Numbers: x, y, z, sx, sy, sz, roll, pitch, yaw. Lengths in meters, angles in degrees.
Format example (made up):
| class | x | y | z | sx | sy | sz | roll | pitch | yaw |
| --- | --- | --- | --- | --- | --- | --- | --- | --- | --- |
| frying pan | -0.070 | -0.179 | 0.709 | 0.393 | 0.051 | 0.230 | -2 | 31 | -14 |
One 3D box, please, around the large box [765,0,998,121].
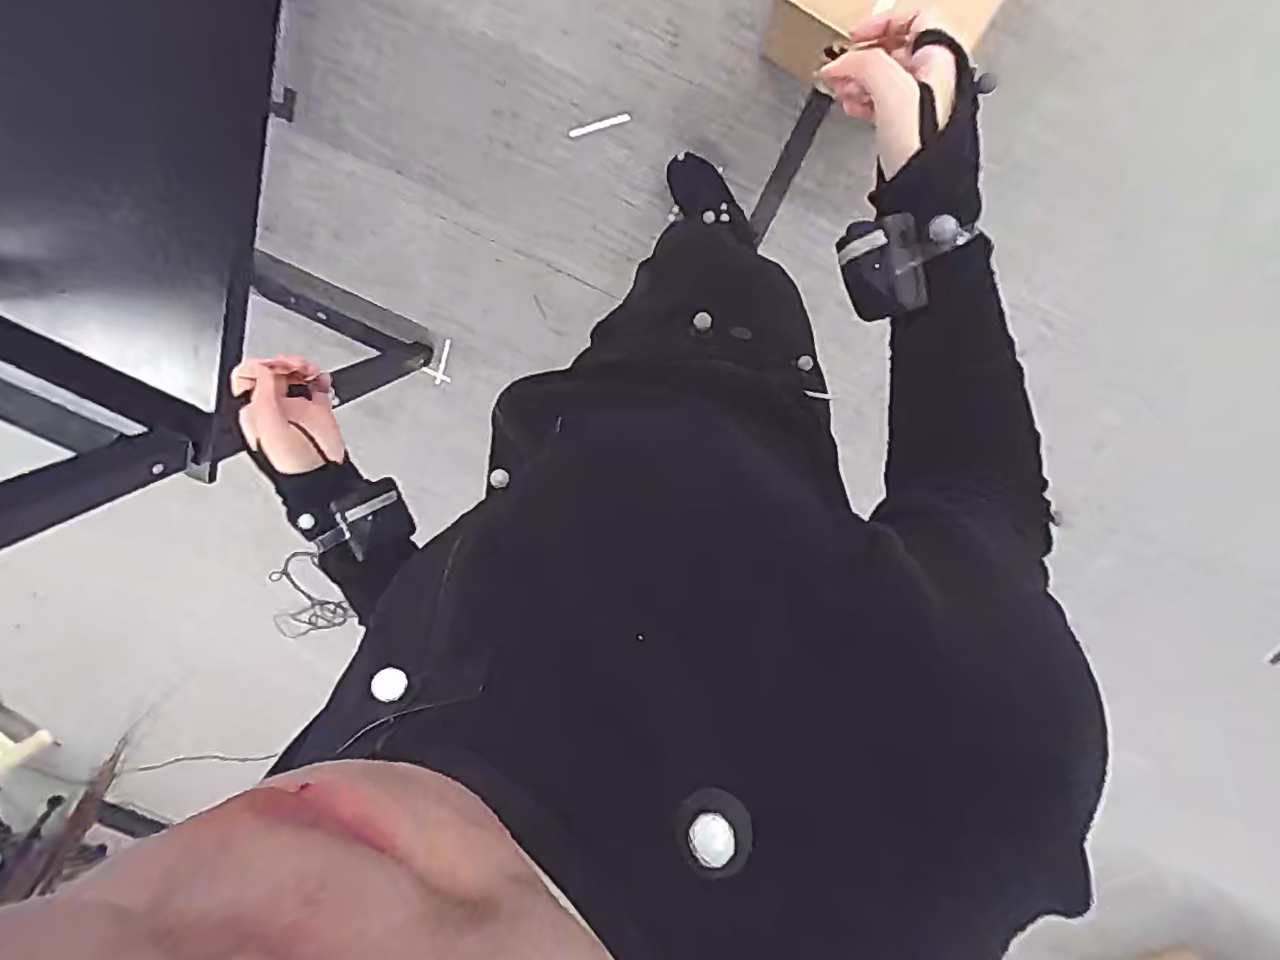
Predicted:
| class | x | y | z | sx | sy | sz | roll | pitch | yaw |
| --- | --- | --- | --- | --- | --- | --- | --- | --- | --- |
| large box | 0.449 | -0.905 | 0.896 | 0.320 | 0.320 | 0.408 | 28 | 115 | -6 |
